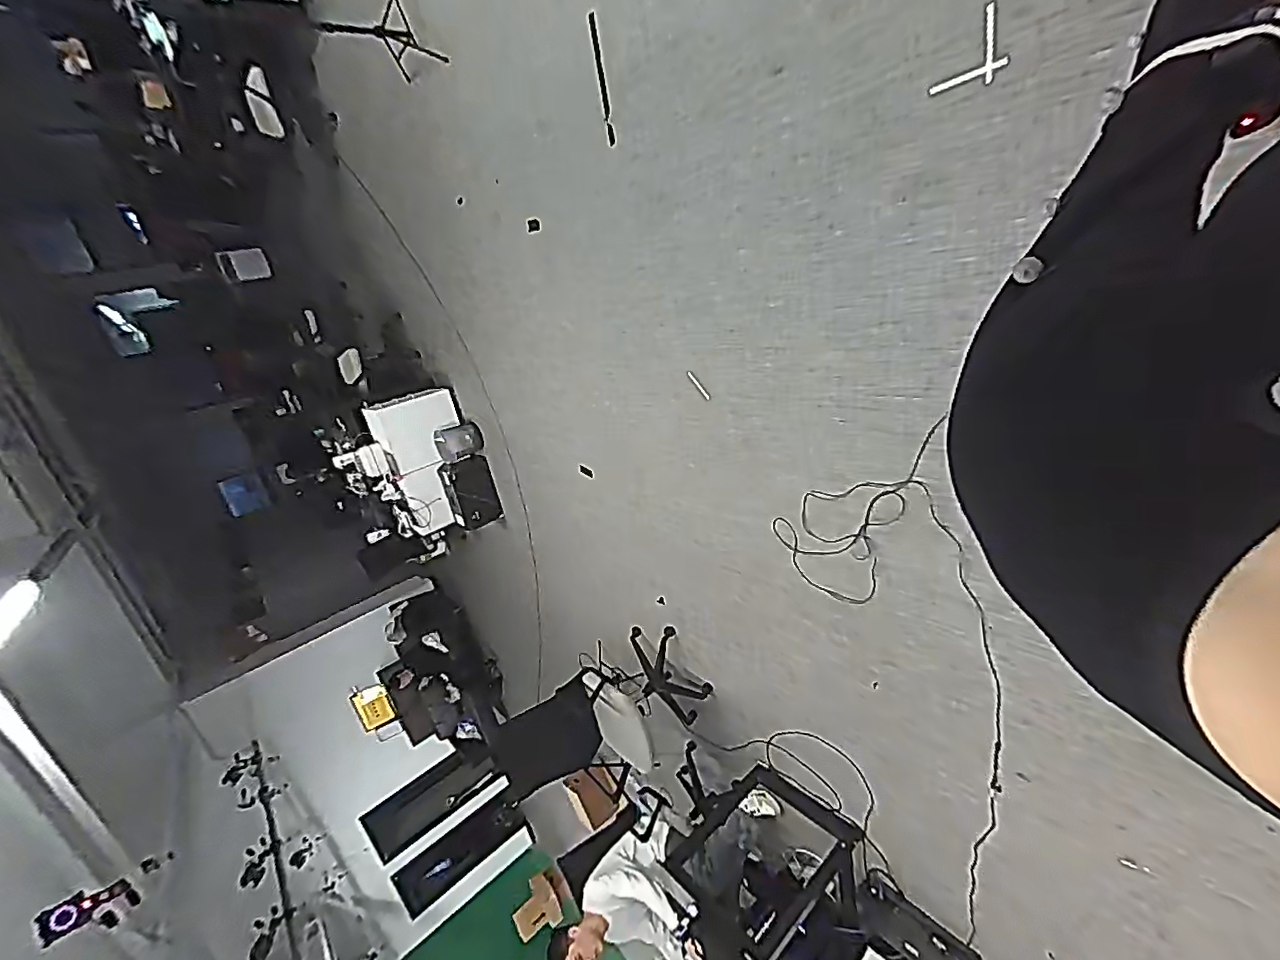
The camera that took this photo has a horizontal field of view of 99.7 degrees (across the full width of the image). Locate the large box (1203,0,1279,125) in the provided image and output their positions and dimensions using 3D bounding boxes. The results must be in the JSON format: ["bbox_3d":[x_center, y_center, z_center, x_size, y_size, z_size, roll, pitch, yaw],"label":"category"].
[{"bbox_3d":[0.705,-0.467,0.355,0.408,0.320,0.320,18,125,46],"label":"large box"}]
